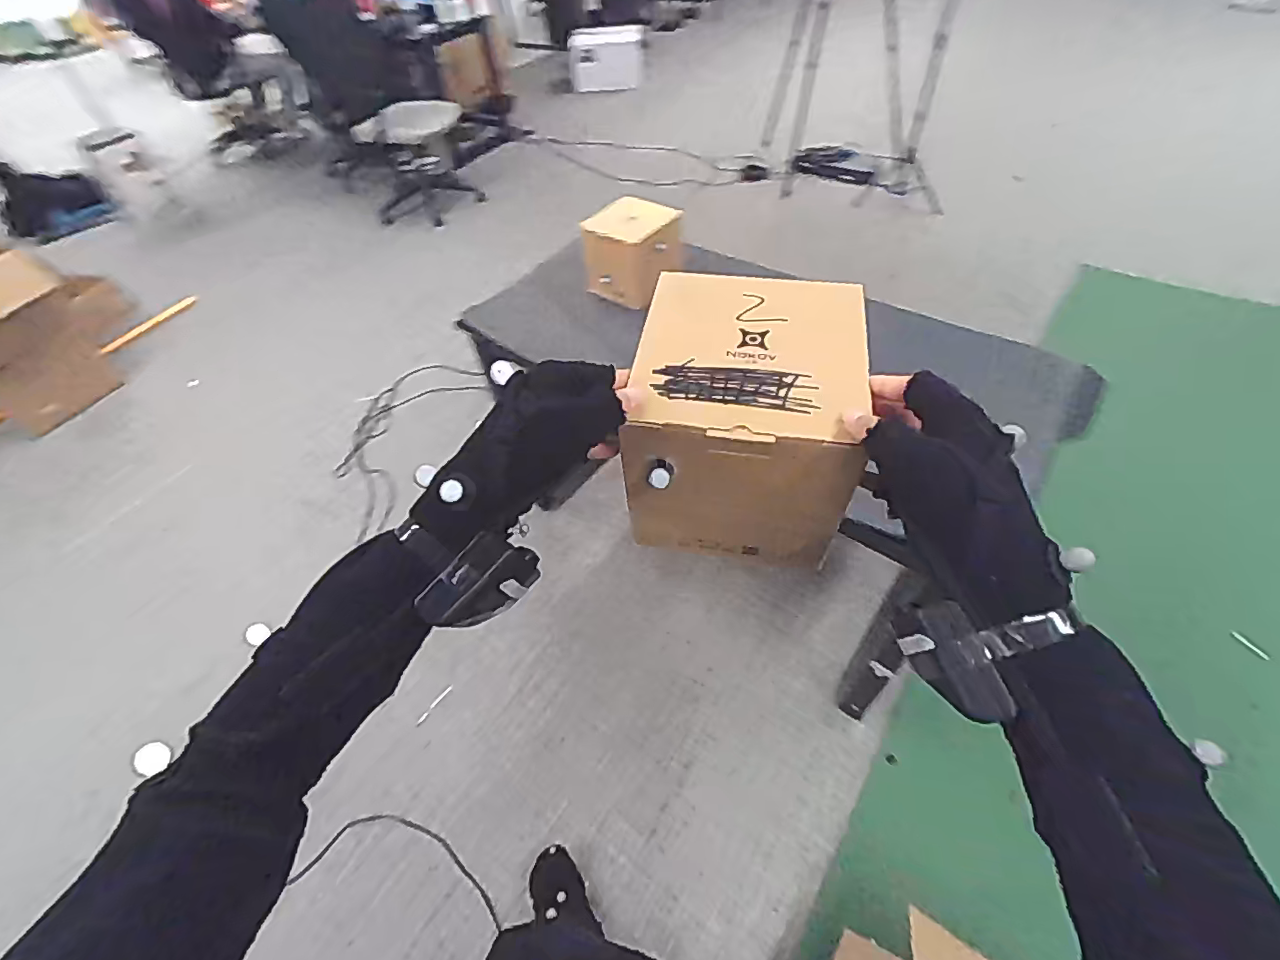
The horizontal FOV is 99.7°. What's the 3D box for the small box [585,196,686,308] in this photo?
[{"bbox_3d":[-0.007,-0.544,1.291,0.168,0.176,0.179,31,60,26],"label":"small box"}]
